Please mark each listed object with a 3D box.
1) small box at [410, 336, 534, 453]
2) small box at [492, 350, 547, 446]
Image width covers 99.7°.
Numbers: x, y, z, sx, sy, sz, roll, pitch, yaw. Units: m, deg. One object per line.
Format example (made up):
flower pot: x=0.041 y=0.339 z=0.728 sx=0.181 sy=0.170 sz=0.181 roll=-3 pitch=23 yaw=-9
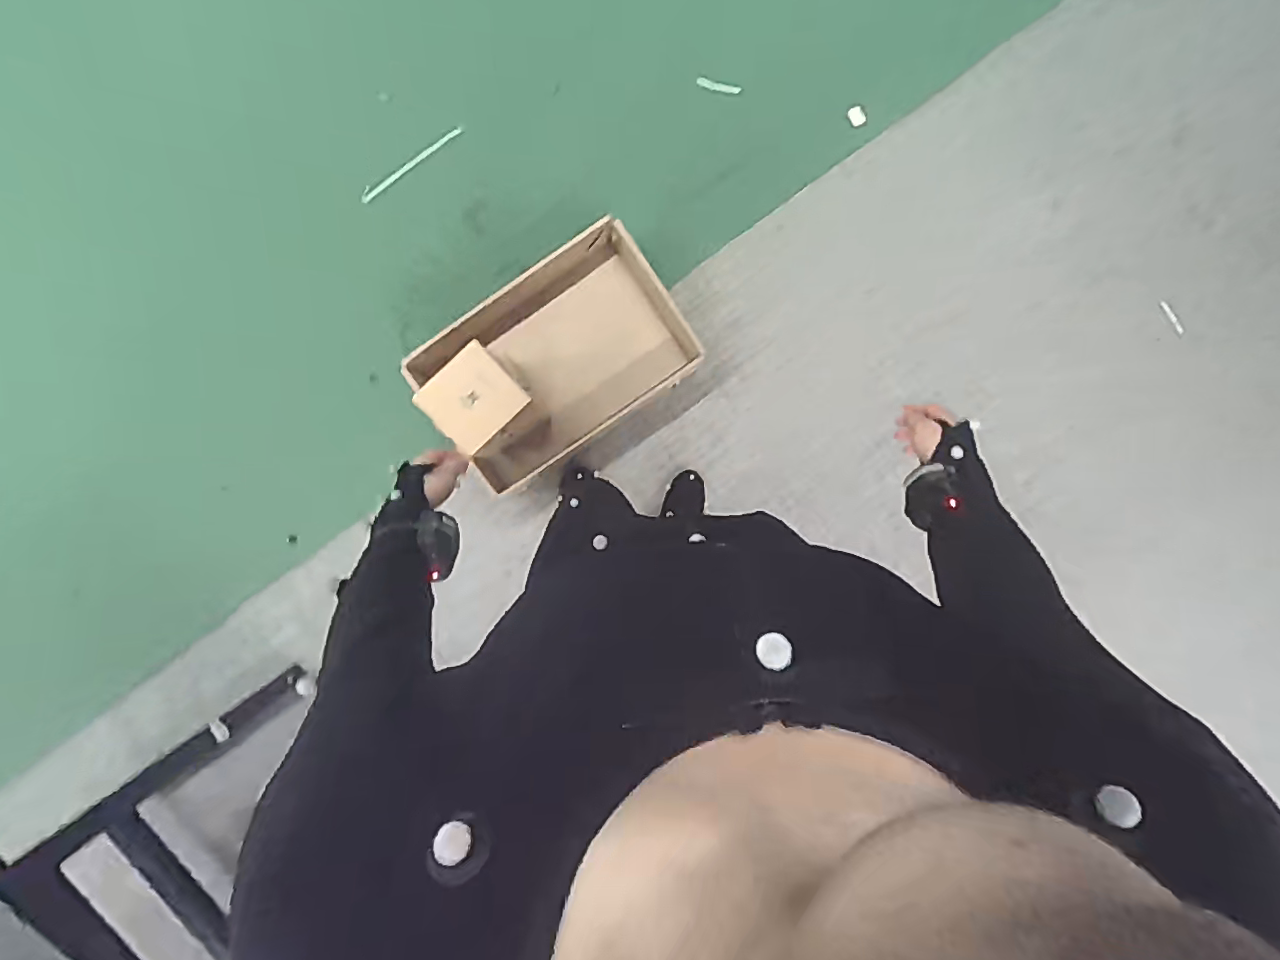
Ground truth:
small box: x=-0.343 y=-0.173 z=1.147 sx=0.179 sy=0.176 sz=0.168 roll=-44 pitch=97 yaw=-1
small box: x=-0.347 y=-0.189 z=1.311 sx=0.179 sy=0.176 sz=0.168 roll=-34 pitch=96 yaw=1
